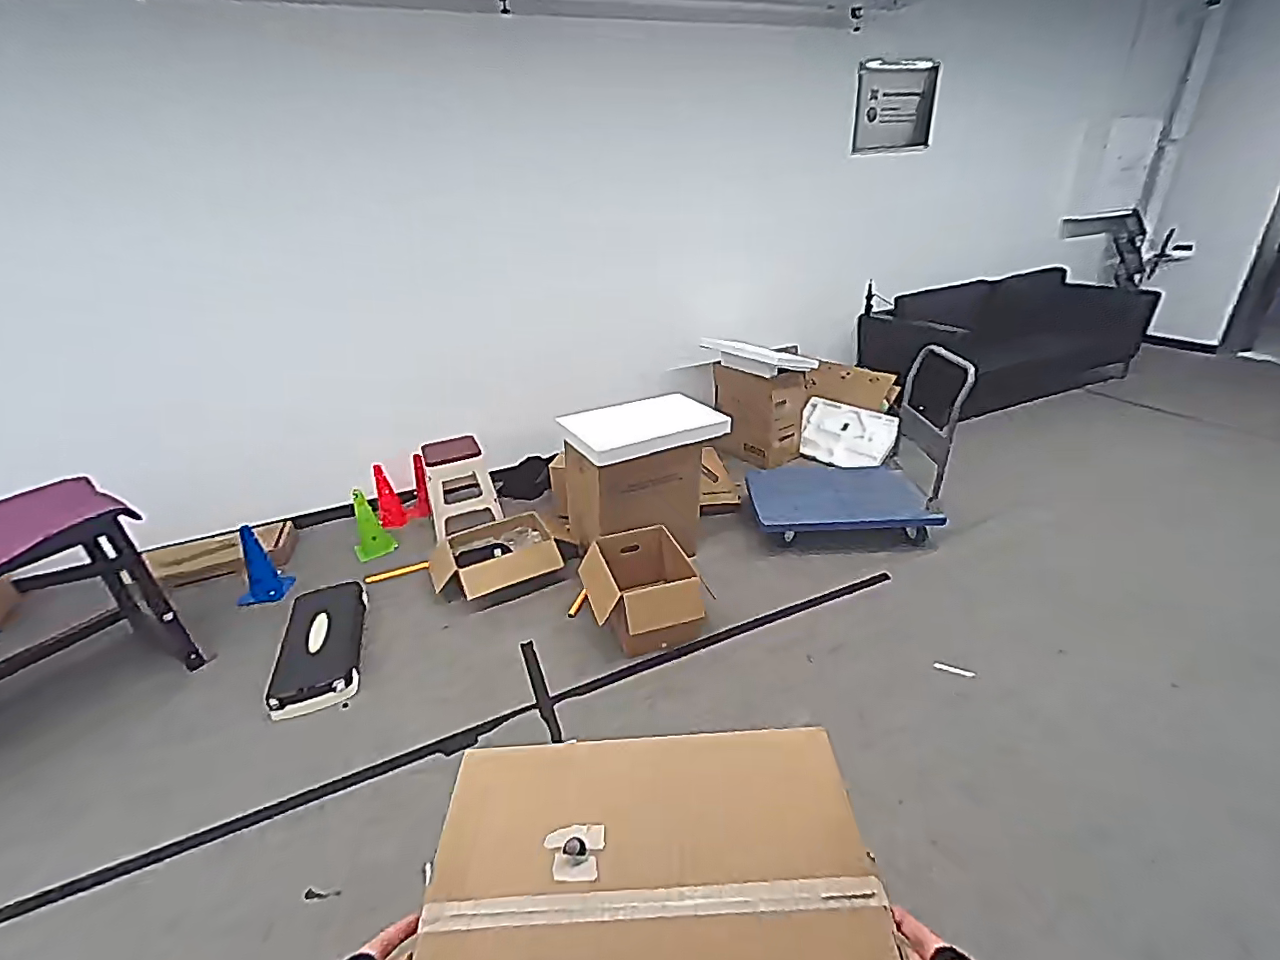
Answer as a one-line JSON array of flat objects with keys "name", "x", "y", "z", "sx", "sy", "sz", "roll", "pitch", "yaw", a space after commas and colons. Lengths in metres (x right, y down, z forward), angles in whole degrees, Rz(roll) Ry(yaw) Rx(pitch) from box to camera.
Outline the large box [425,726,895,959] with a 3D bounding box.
[{"name": "large box", "x": 0.026, "y": 0.505, "z": 0.569, "sx": 0.408, "sy": 0.320, "sz": 0.320, "roll": -6, "pitch": 32, "yaw": 2}]
